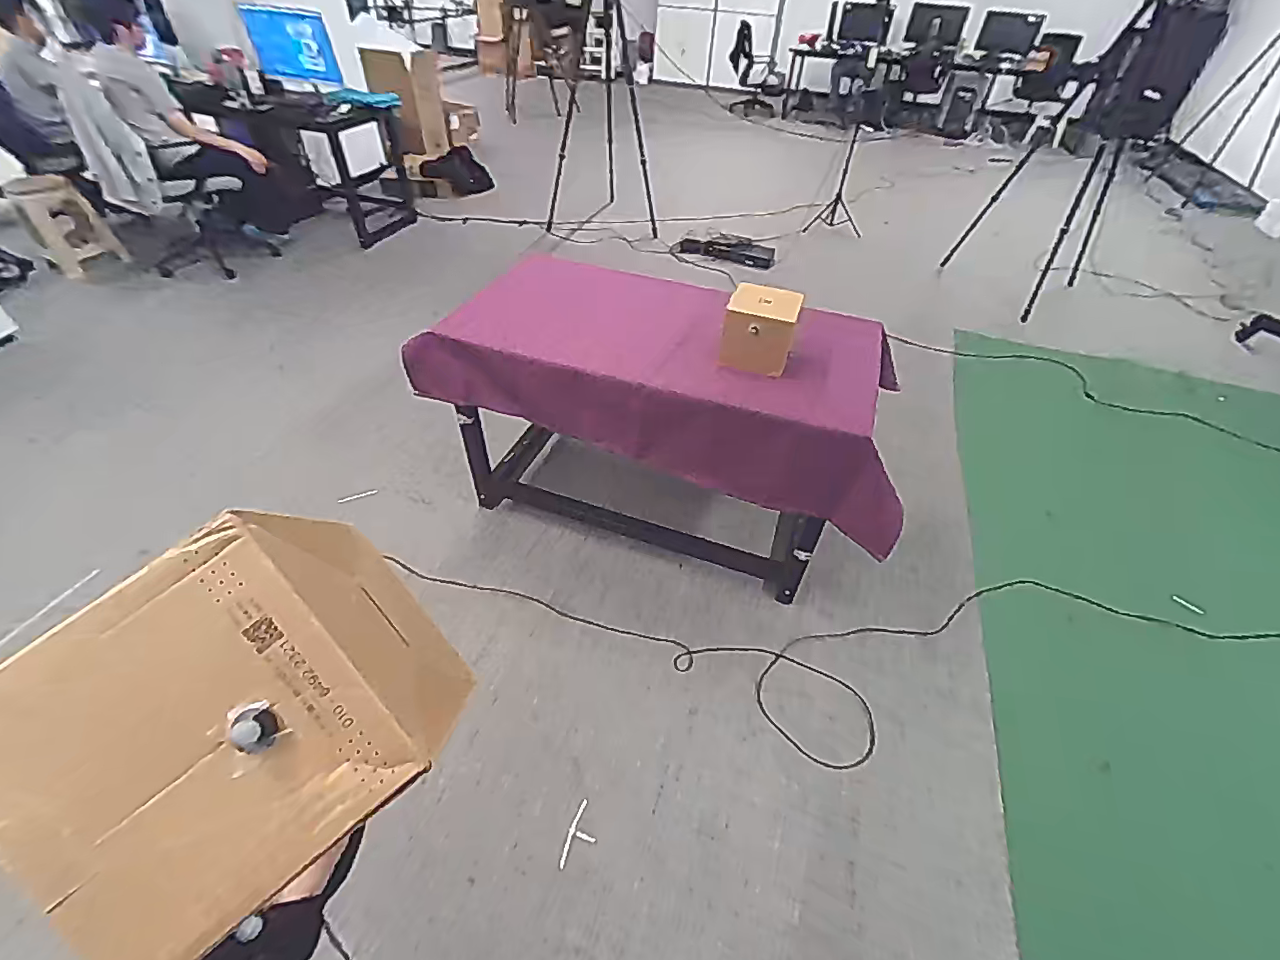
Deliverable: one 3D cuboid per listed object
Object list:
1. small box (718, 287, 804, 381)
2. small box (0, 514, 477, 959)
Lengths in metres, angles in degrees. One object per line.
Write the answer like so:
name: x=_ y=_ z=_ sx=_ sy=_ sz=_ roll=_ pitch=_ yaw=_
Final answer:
small box: x=0.314 y=-0.384 z=1.427 sx=0.179 sy=0.176 sz=0.168 roll=17 pitch=46 yaw=13
small box: x=-0.226 y=0.138 z=0.350 sx=0.176 sy=0.179 sz=0.168 roll=-39 pitch=89 yaw=-11
